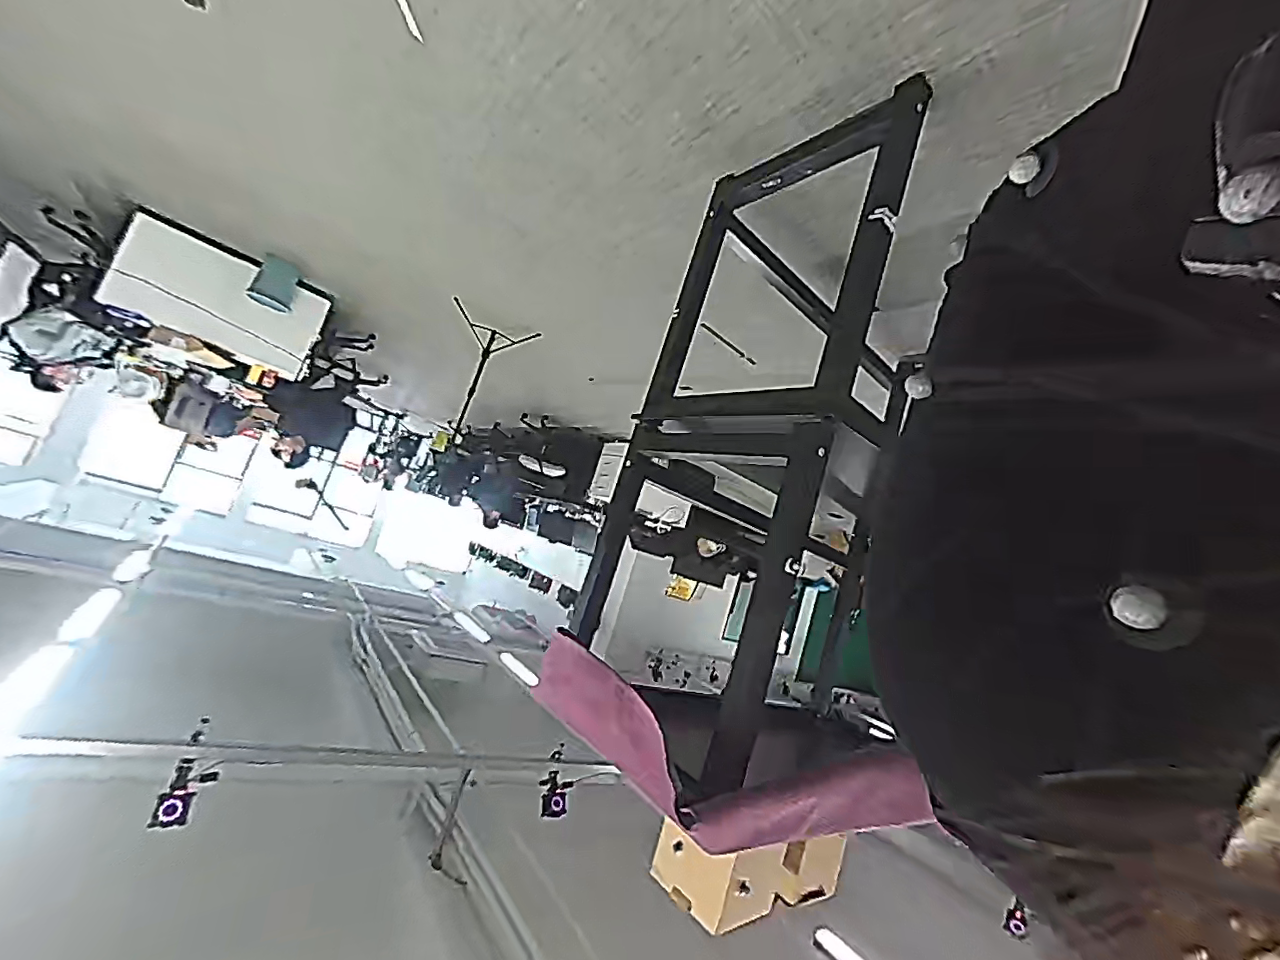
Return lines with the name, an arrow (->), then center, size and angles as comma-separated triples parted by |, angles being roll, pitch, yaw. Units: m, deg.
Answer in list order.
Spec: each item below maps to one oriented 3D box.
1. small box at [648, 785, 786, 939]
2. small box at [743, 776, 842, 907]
small box -> 0.149, 0.703, 1.021 | 0.179, 0.176, 0.168 | 23, 171, -41
small box -> 0.321, 0.781, 1.187 | 0.168, 0.176, 0.179 | 23, 171, -37
